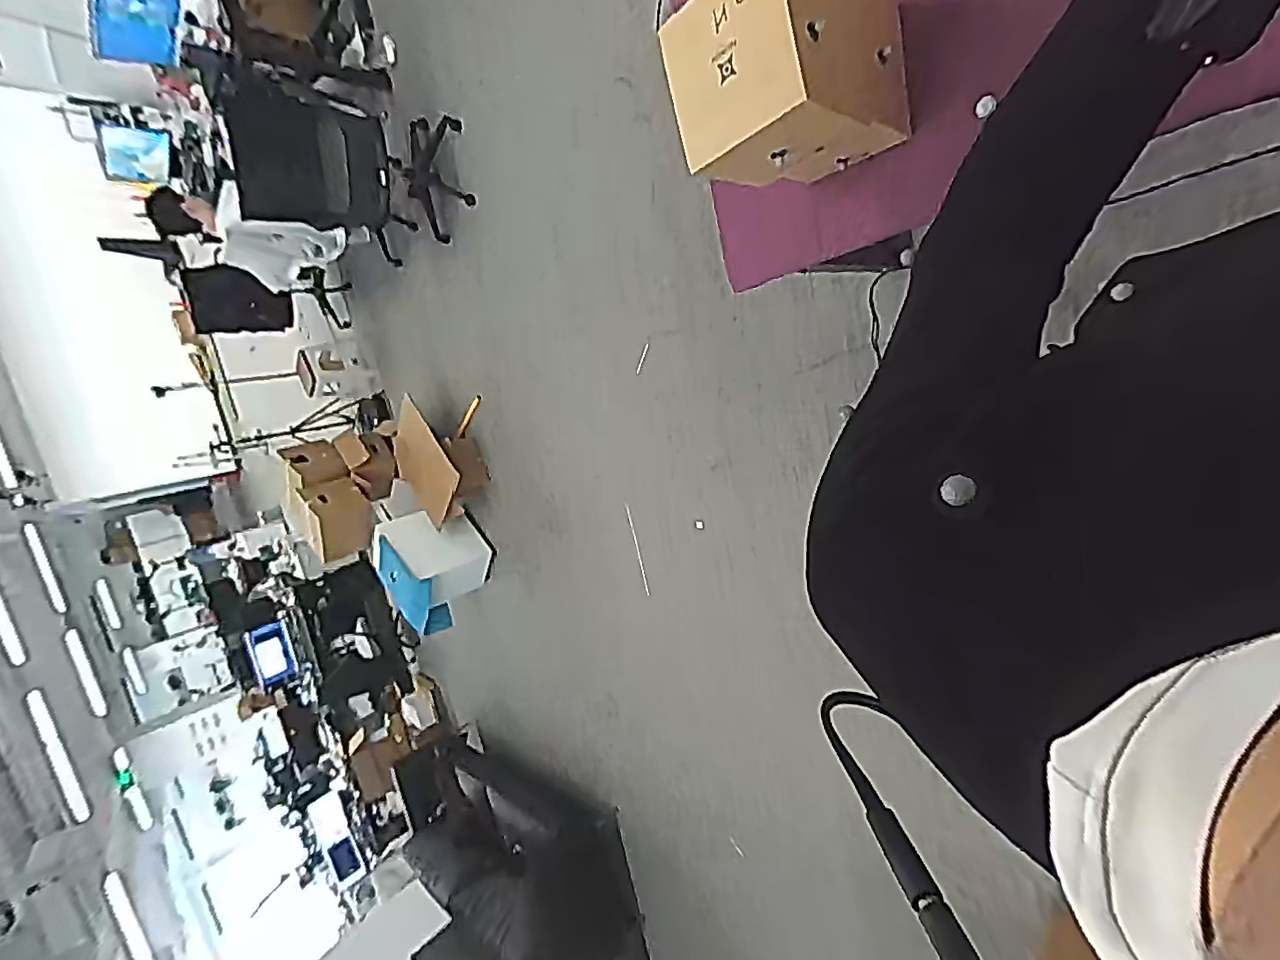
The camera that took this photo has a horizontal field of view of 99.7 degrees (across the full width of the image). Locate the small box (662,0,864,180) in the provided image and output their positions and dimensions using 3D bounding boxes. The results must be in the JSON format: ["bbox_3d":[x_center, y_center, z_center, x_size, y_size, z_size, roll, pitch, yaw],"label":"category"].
[{"bbox_3d":[0.158,-0.497,0.674,0.168,0.176,0.179,-6,101,47],"label":"small box"}]
